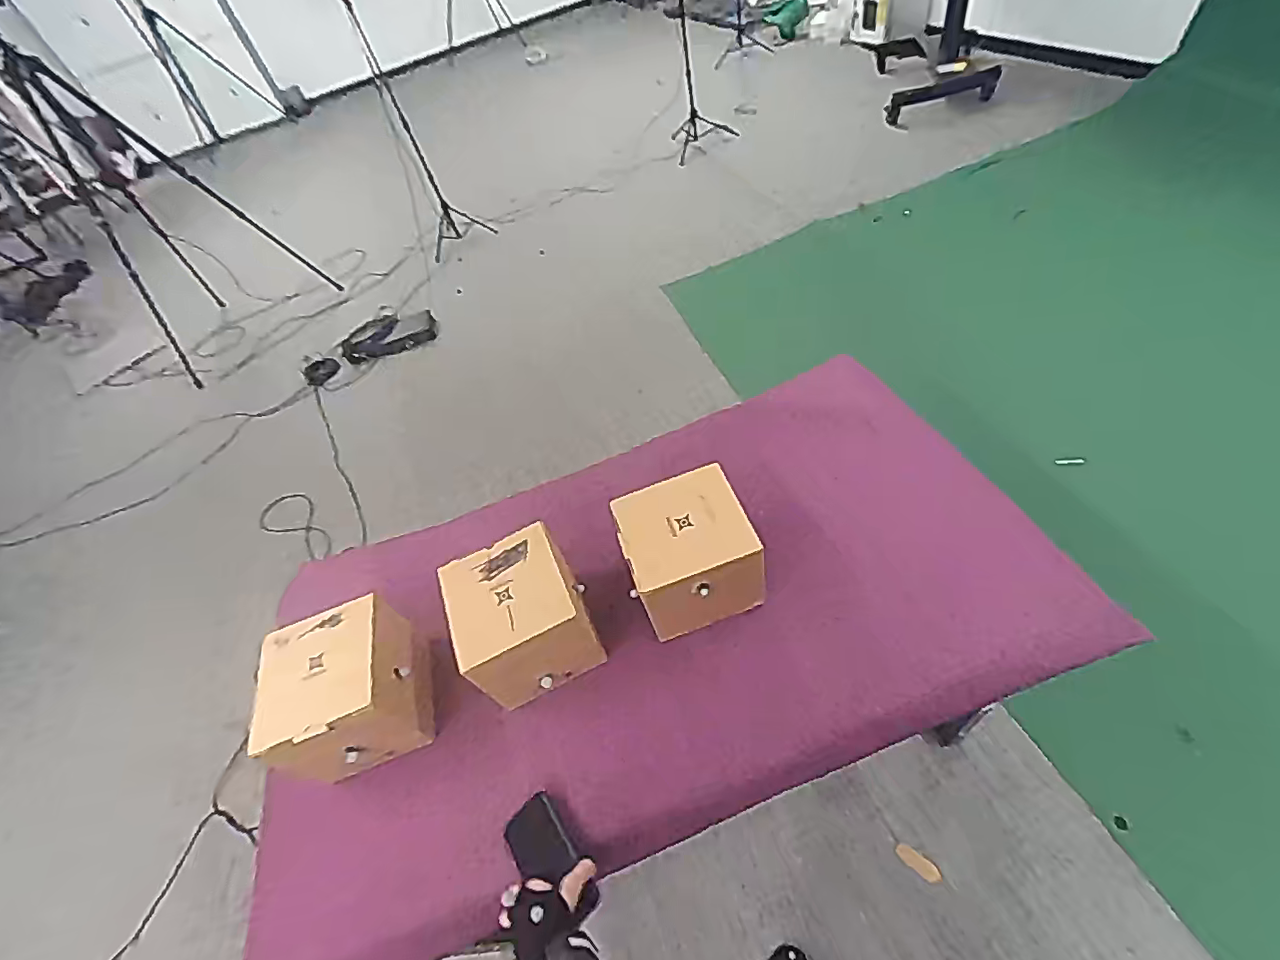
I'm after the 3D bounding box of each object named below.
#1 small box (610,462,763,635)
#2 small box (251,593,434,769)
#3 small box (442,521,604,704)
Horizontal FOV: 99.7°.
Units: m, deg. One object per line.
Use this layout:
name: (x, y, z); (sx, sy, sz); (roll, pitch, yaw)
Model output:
small box: (0.073, 0.109, 0.815); (0.179, 0.176, 0.168); (-20, 50, -1)
small box: (-0.418, 0.301, 0.791); (0.168, 0.176, 0.179); (-21, 50, -3)
small box: (-0.171, 0.200, 0.806); (0.168, 0.176, 0.179); (-26, 50, -6)
